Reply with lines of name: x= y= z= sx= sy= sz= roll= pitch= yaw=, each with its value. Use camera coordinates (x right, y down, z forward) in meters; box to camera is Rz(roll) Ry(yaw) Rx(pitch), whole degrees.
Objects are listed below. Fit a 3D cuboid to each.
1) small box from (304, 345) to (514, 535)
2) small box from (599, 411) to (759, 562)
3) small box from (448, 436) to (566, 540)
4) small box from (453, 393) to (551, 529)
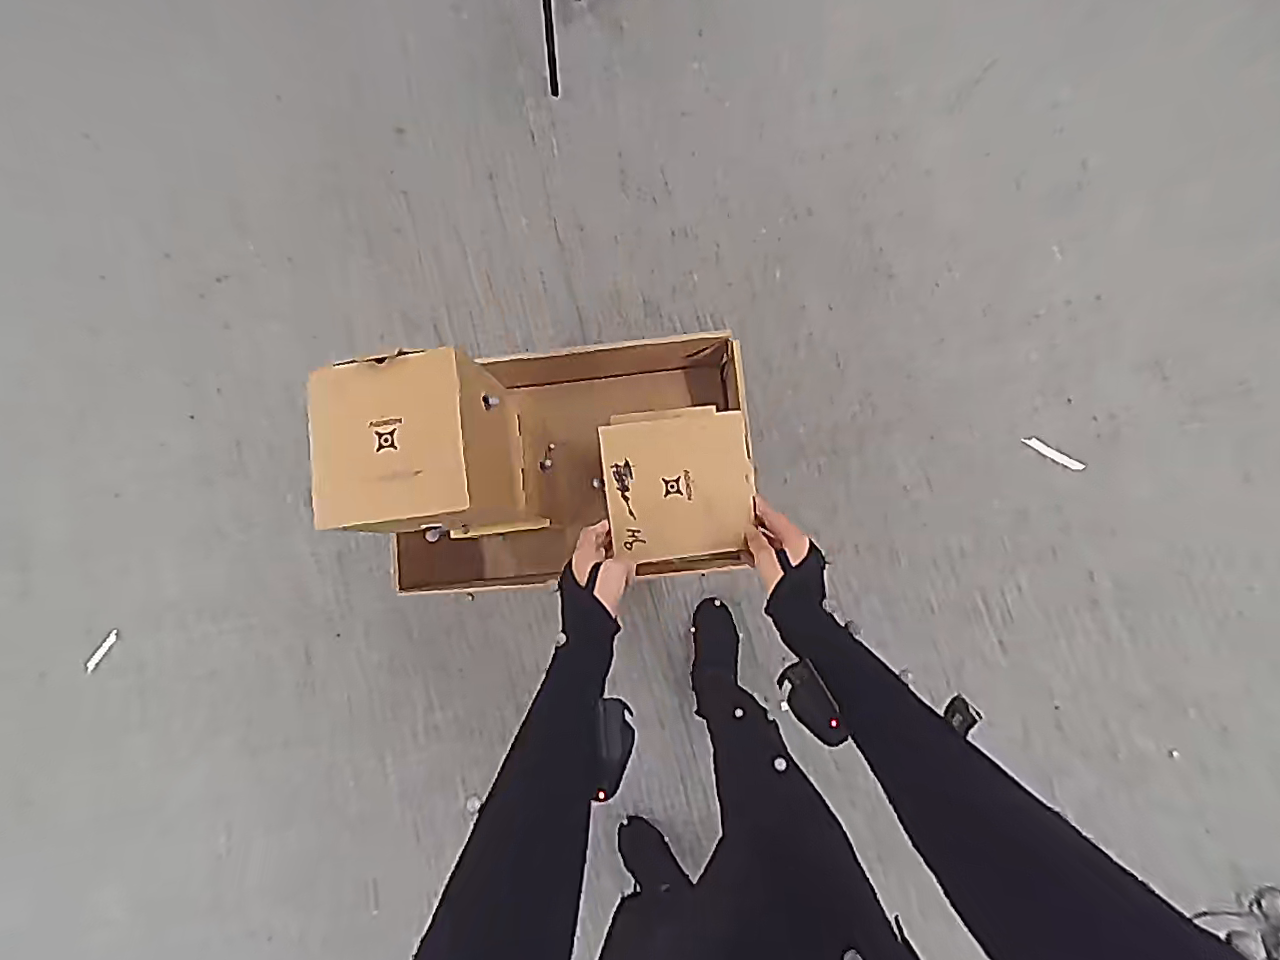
small box: x=-0.255 y=-0.034 z=0.627 sx=0.168 sy=0.176 sz=0.179 roll=-8 pitch=82 yaw=4
small box: x=0.040 y=0.010 z=0.707 sx=0.179 sy=0.176 sz=0.168 roll=-6 pitch=86 yaw=-3
small box: x=-0.231 y=0.009 z=0.952 sx=0.168 sy=0.176 sz=0.179 roll=-7 pitch=83 yaw=2
small box: x=-0.238 y=-0.018 z=0.789 sx=0.179 sy=0.176 sz=0.168 roll=-6 pitch=83 yaw=3
